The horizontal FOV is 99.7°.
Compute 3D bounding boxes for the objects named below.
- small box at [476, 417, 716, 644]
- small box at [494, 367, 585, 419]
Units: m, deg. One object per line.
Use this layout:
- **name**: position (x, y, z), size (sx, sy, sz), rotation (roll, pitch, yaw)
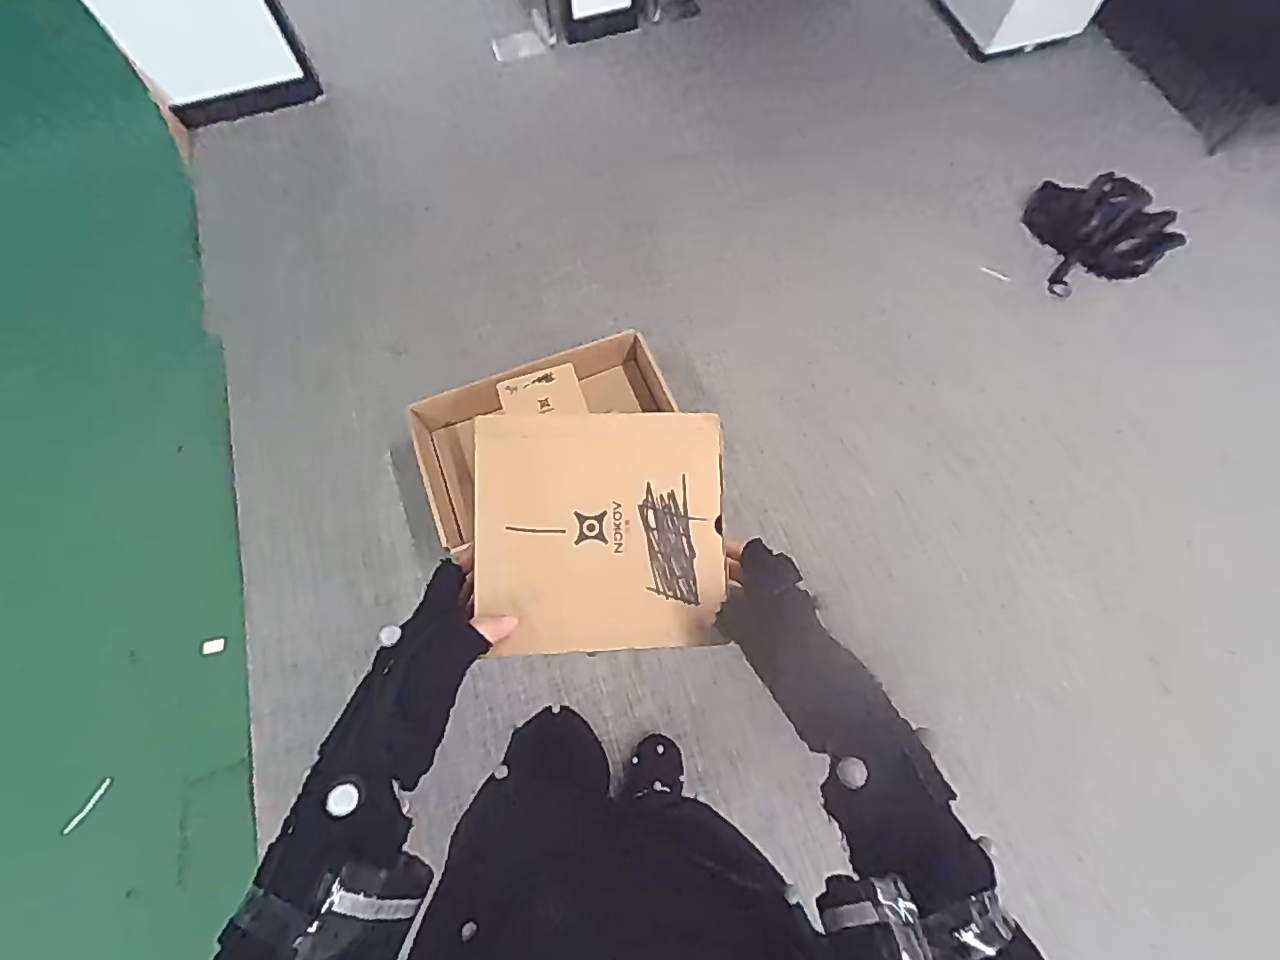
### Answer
- **small box**: position (-0.042, 0.044, 0.477), size (0.179, 0.176, 0.168), rotation (-1, 82, -7)
- **small box**: position (-0.203, -0.112, 1.177), size (0.168, 0.176, 0.179), rotation (-17, 70, -8)
